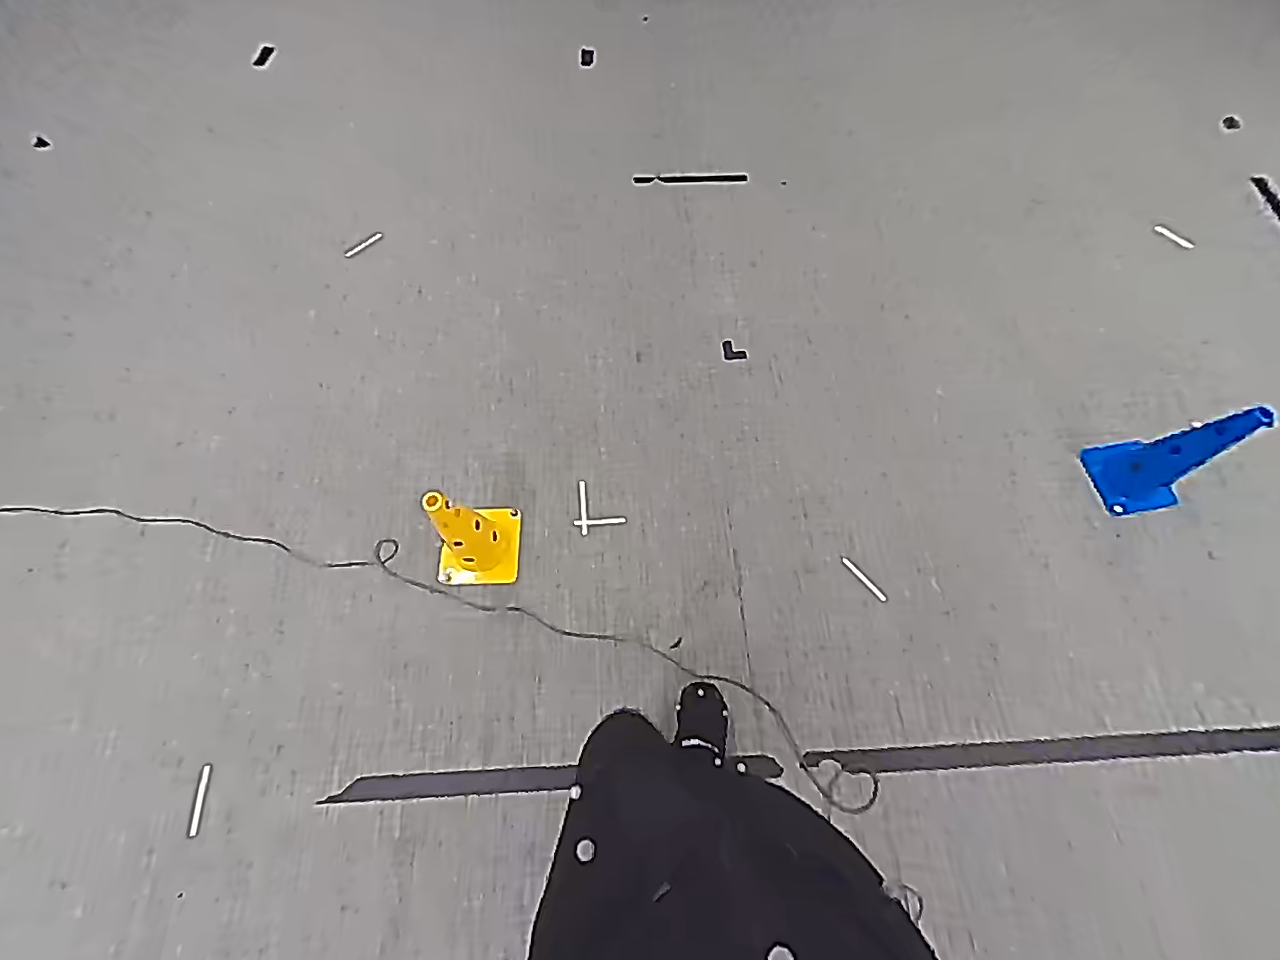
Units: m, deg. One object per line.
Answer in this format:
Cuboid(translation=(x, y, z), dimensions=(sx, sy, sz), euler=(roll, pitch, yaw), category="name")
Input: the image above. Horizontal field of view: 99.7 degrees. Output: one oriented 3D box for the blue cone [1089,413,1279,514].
Cuboid(translation=(1.339, -0.068, 1.318), dimensions=(0.193, 0.380, 0.192), euler=(-8, 68, -3), category="blue cone")
